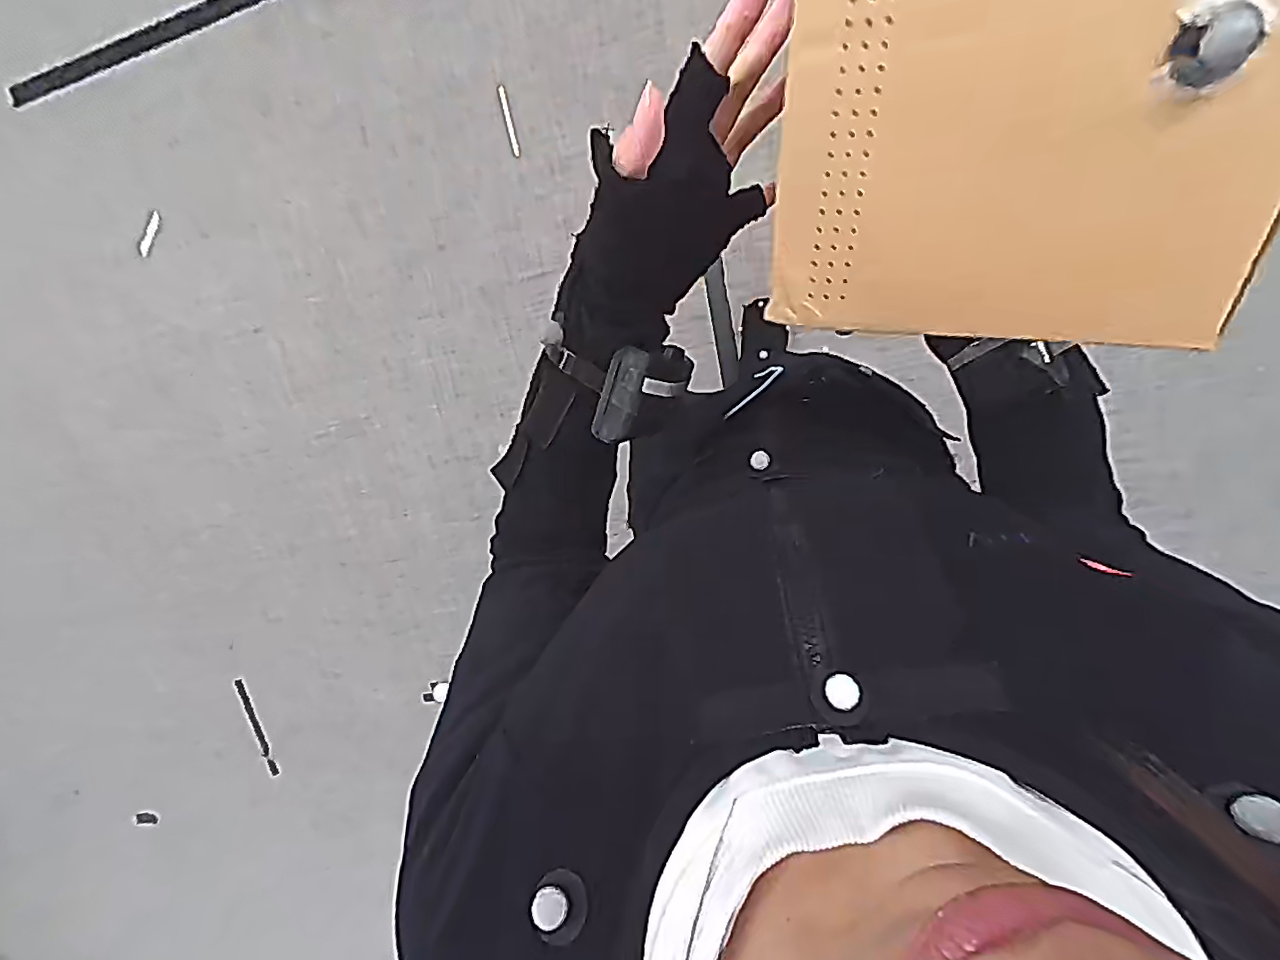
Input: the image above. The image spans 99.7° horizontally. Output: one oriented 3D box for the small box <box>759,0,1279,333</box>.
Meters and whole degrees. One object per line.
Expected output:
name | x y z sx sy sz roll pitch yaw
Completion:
small box | 0.150 -0.178 0.256 0.176 0.168 0.179 8 121 14
